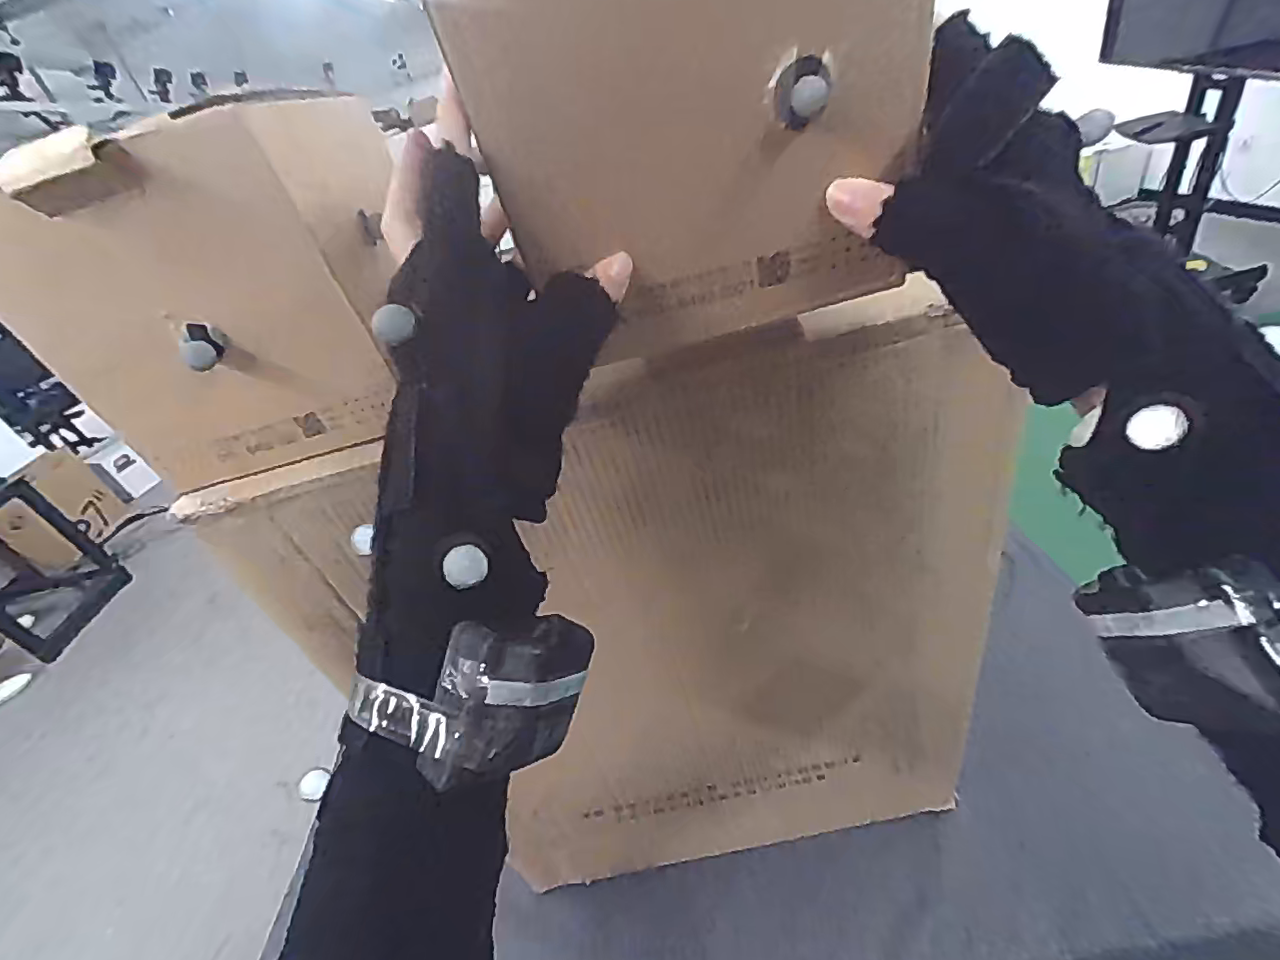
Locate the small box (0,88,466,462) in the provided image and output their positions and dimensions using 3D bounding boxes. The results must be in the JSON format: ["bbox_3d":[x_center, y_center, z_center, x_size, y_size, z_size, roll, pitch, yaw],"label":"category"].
[{"bbox_3d":[-0.234,-0.128,0.353,0.168,0.176,0.179,-14,37,5],"label":"small box"}]

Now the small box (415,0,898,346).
[{"bbox_3d":[0.015,-0.182,0.270,0.168,0.176,0.179,-12,41,5],"label":"small box"}]
